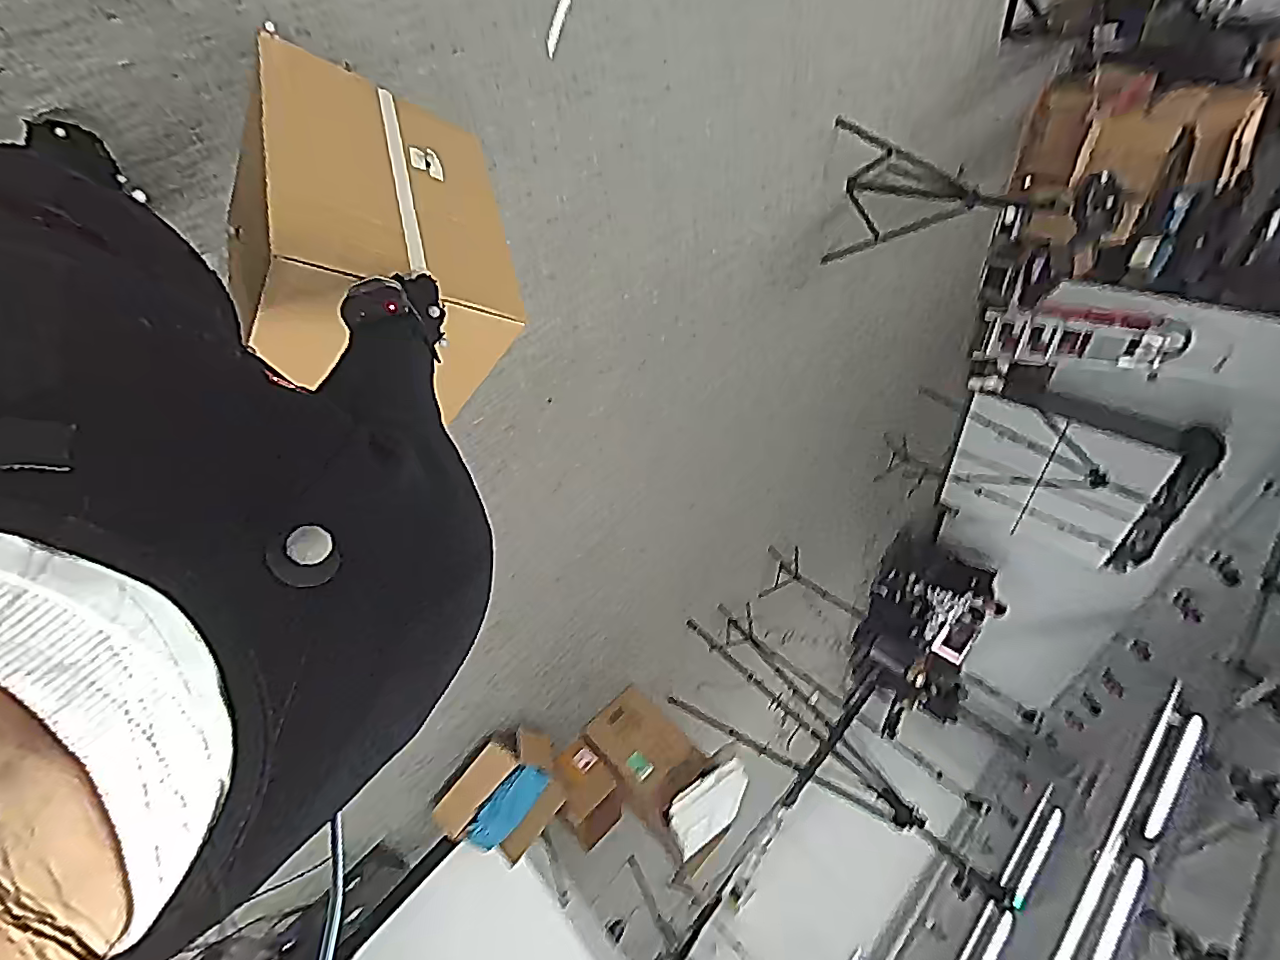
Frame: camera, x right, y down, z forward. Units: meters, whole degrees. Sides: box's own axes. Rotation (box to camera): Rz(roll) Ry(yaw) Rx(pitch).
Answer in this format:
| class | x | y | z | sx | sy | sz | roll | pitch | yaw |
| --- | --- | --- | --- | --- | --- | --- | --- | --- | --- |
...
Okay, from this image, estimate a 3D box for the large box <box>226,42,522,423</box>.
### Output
| class | x | y | z | sx | sy | sz | roll | pitch | yaw |
| --- | --- | --- | --- | --- | --- | --- | --- | --- | --- |
| large box | -0.436 | -0.341 | 0.854 | 0.320 | 0.408 | 0.320 | 1 | 151 | -44 |
